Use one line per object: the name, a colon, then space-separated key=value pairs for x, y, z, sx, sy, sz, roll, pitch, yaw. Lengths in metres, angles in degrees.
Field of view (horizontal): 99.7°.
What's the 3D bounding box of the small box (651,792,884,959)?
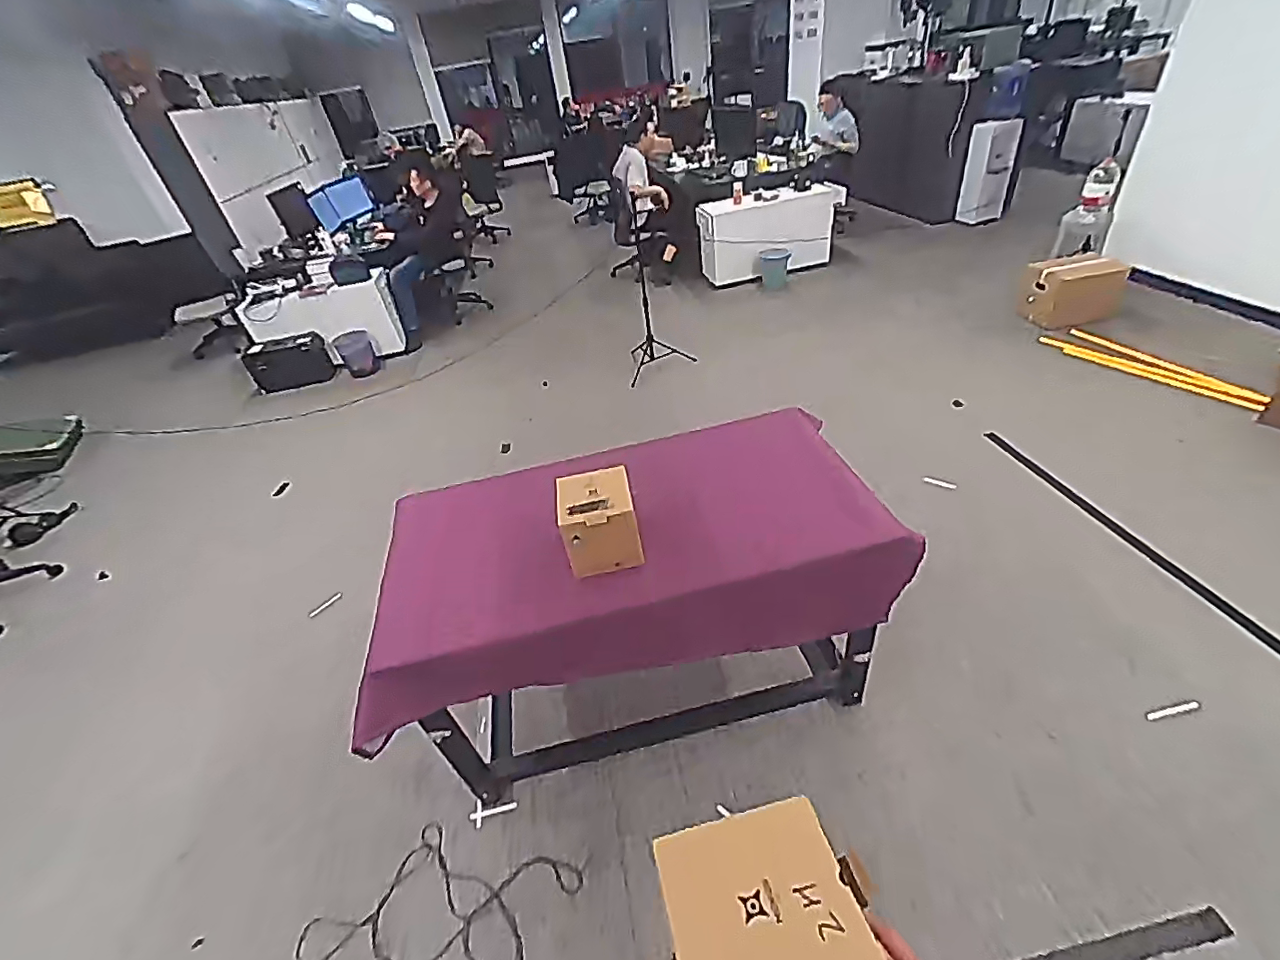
small box: x=0.120 y=0.462 z=0.548 sx=0.179 sy=0.176 sz=0.168 roll=-11 pitch=31 yaw=-7
